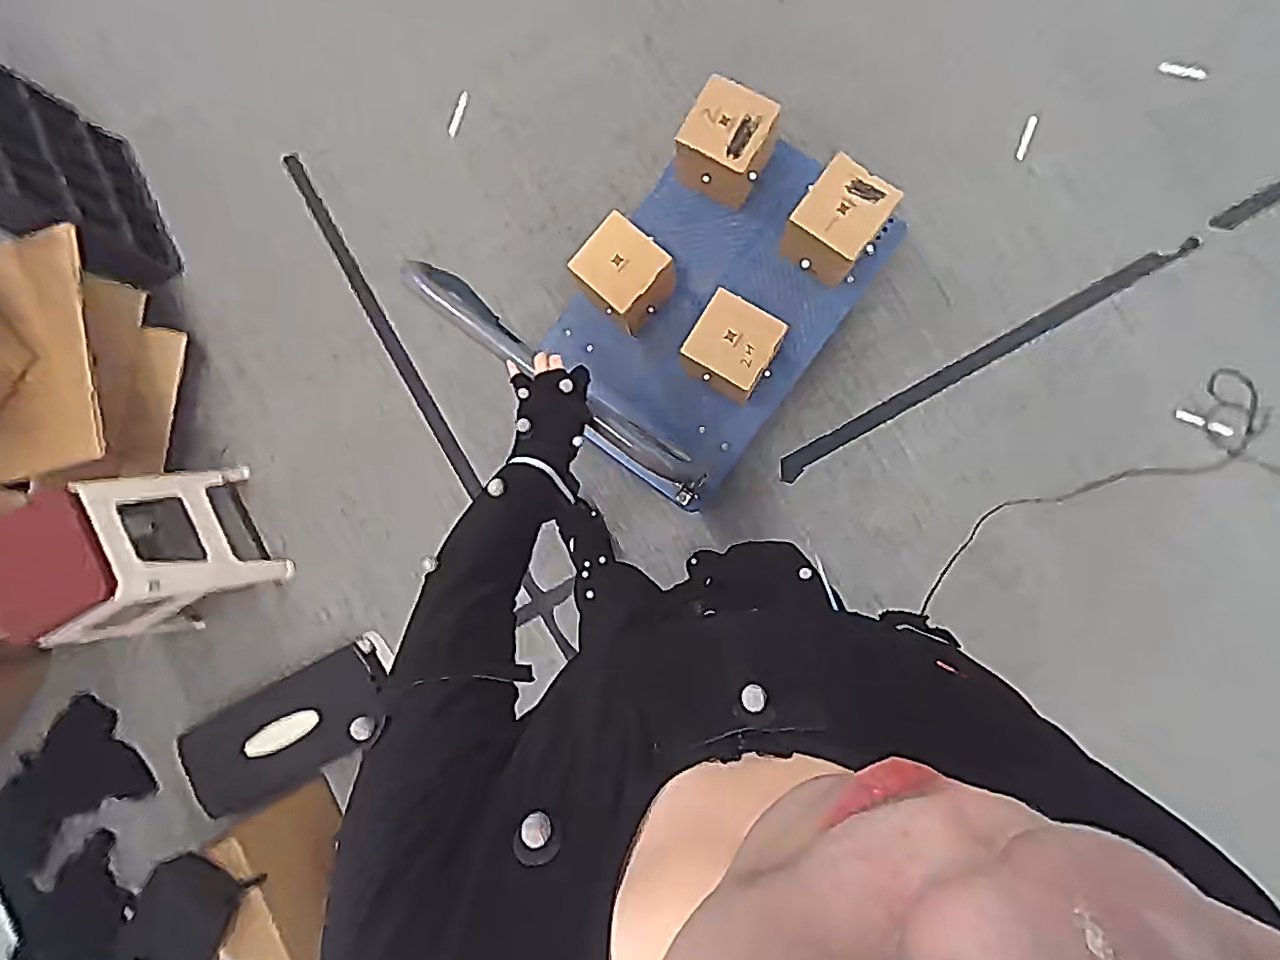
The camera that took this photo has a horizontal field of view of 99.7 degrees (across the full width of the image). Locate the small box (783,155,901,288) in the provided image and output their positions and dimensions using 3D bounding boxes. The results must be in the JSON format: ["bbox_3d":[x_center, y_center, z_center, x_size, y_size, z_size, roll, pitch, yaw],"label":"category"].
[{"bbox_3d":[0.441,-0.571,1.217,0.168,0.176,0.179,38,94,6],"label":"small box"}]

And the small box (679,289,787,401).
[{"bbox_3d":[0.208,-0.298,1.239,0.179,0.176,0.168,32,93,7],"label":"small box"}]

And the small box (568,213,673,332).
[{"bbox_3d":[-0.039,-0.478,1.276,0.179,0.176,0.168,42,93,5],"label":"small box"}]
